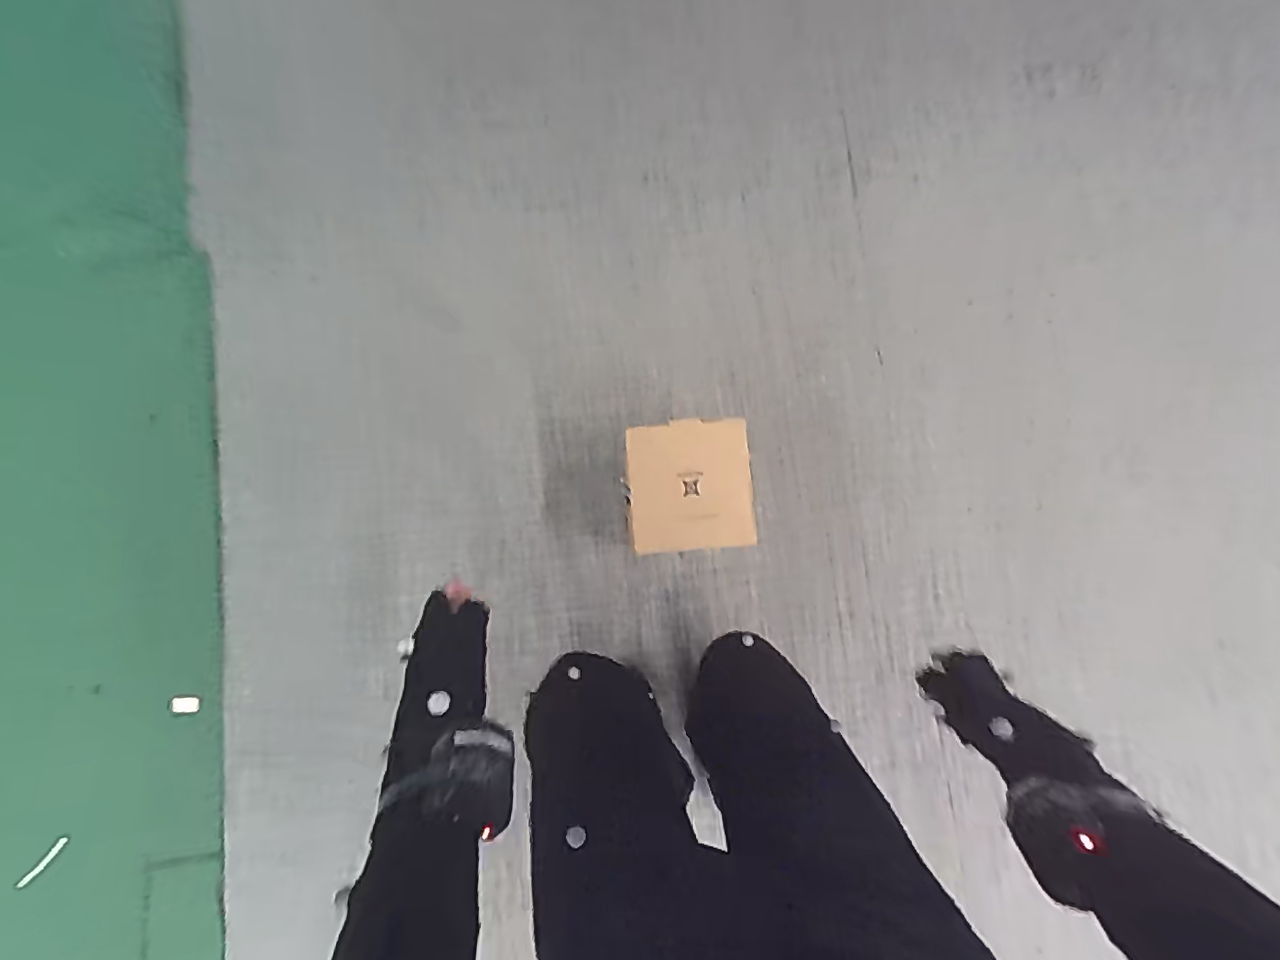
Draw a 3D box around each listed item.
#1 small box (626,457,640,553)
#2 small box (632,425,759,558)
[{"bbox_3d":[0.070,0.048,0.979,0.179,0.176,0.168,-3,84,1],"label":"small box"},{"bbox_3d":[0.078,0.024,0.818,0.168,0.176,0.179,-5,84,3],"label":"small box"}]
